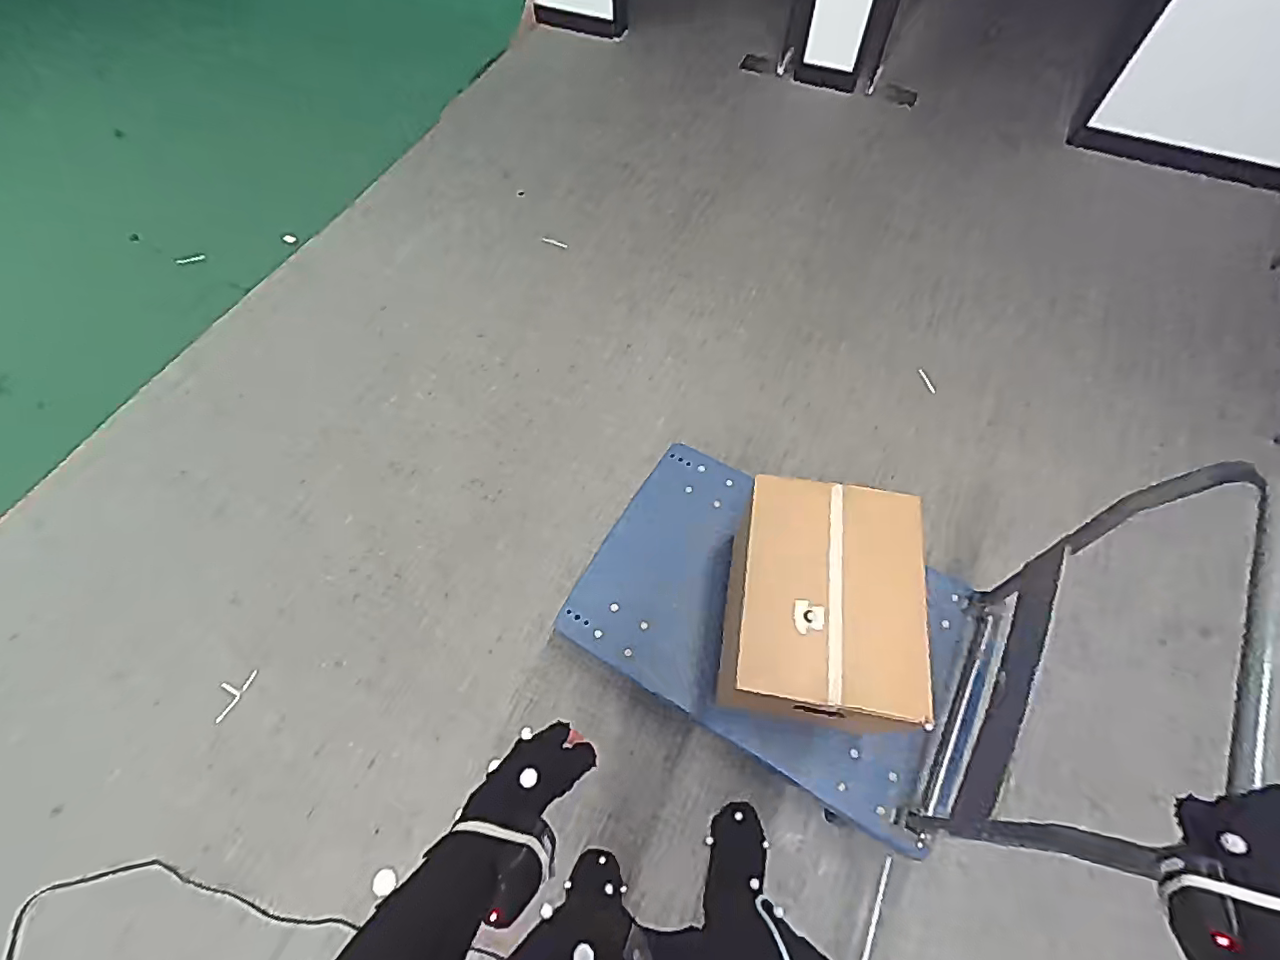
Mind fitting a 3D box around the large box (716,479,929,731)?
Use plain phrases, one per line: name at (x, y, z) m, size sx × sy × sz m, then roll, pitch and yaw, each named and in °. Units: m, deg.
large box at (0.341, 0.258, 1.088) m, size 0.320 × 0.320 × 0.408 m, roll 9°, pitch 64°, yaw 6°
